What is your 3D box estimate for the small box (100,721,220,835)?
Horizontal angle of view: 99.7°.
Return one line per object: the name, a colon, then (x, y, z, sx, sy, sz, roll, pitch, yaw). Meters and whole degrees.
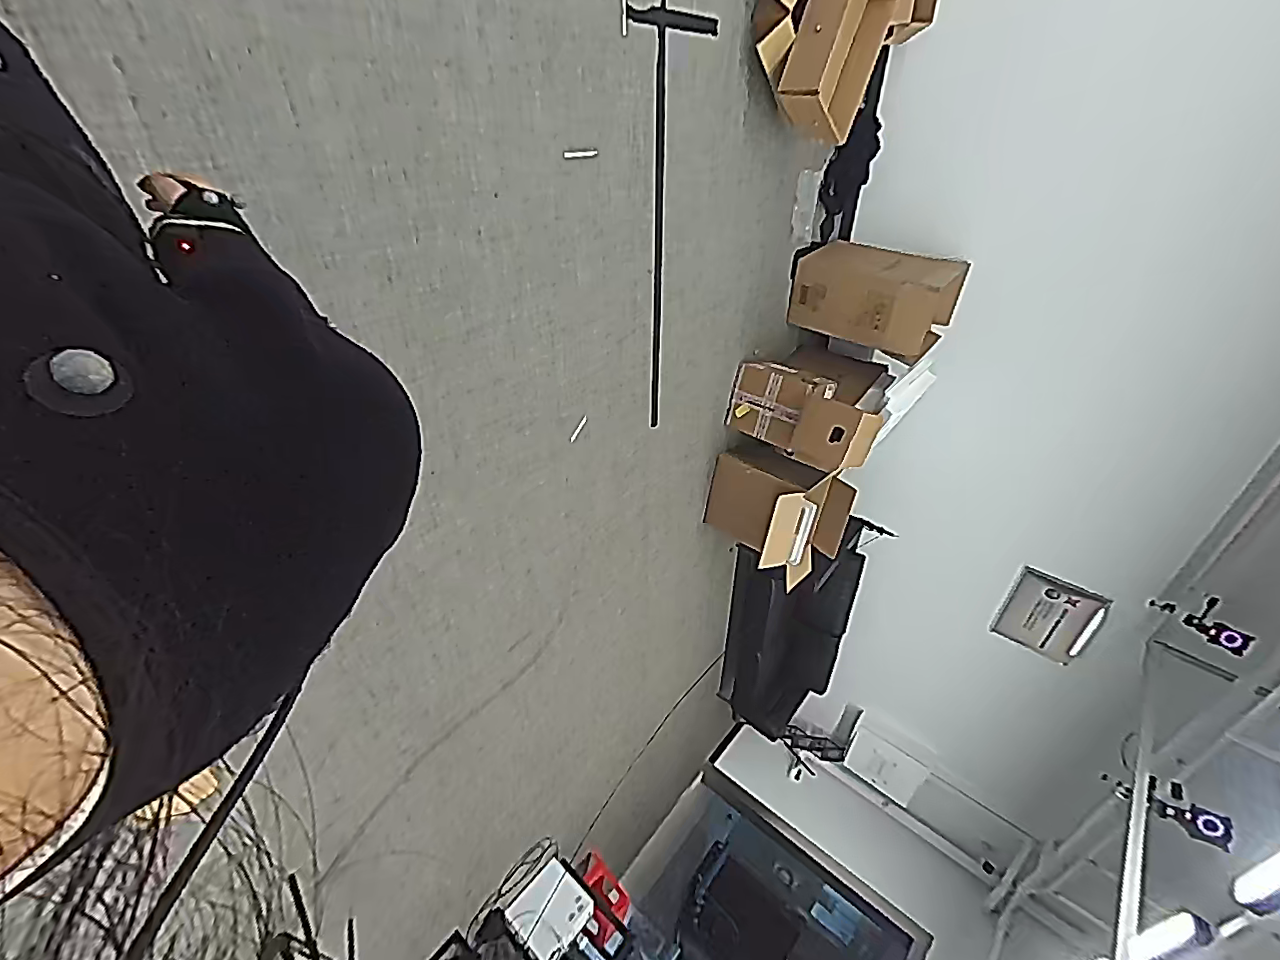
small box: (-1.267, 0.779, 1.432, 0.168, 0.176, 0.179, -35, 139, -38)
